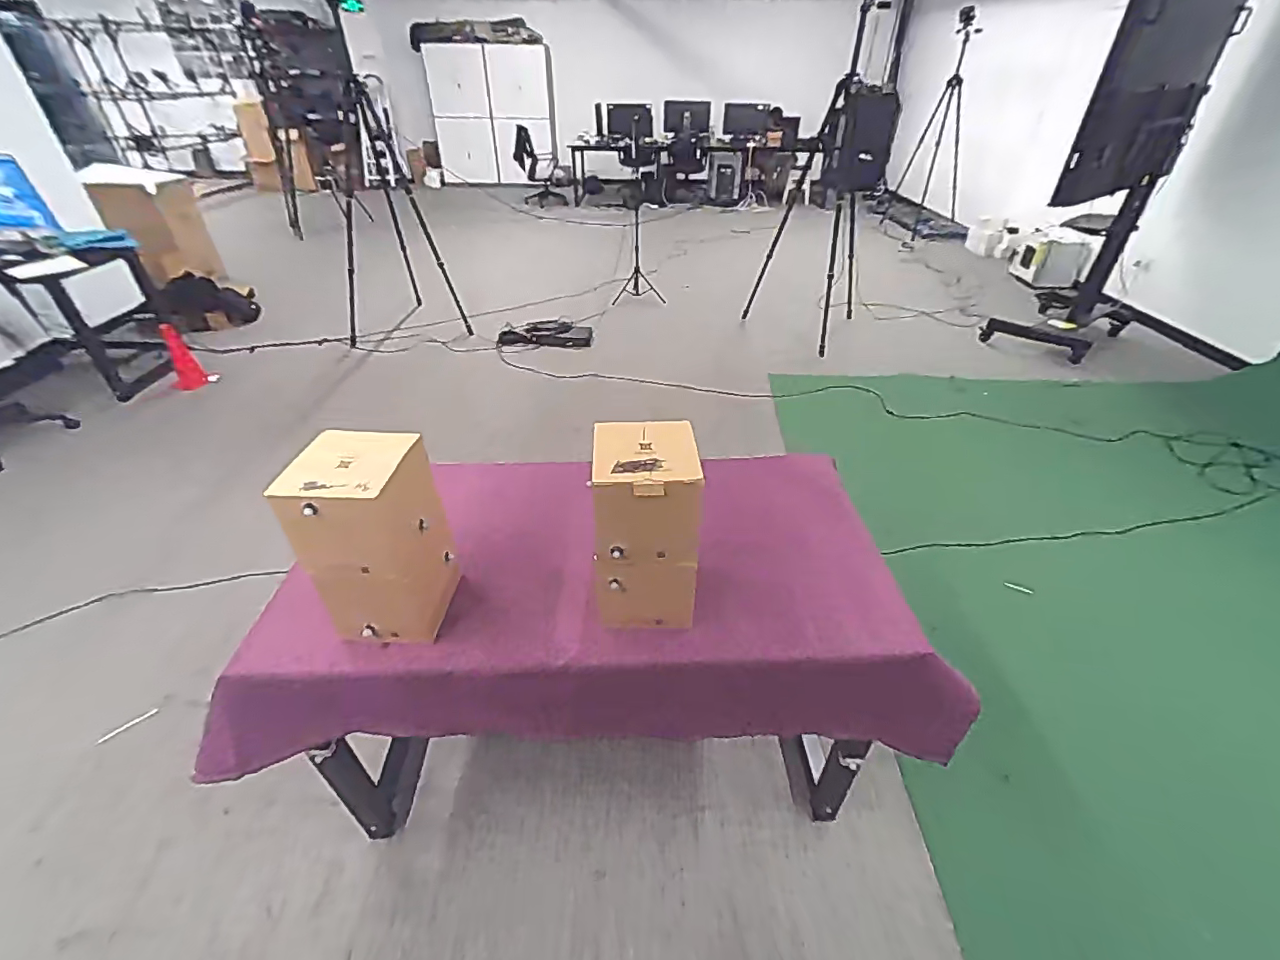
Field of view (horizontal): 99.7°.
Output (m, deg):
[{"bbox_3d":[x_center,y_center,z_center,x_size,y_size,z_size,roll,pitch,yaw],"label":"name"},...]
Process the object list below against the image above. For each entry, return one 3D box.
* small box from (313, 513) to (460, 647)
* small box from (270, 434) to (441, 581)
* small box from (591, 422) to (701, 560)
[{"bbox_3d":[-0.439,0.174,0.975,0.168,0.176,0.179,1,37,3],"label":"small box"},{"bbox_3d":[-0.441,0.041,0.876,0.168,0.176,0.179,0,36,4],"label":"small box"},{"bbox_3d":[0.008,0.020,0.900,0.168,0.176,0.179,-2,35,-2],"label":"small box"}]
